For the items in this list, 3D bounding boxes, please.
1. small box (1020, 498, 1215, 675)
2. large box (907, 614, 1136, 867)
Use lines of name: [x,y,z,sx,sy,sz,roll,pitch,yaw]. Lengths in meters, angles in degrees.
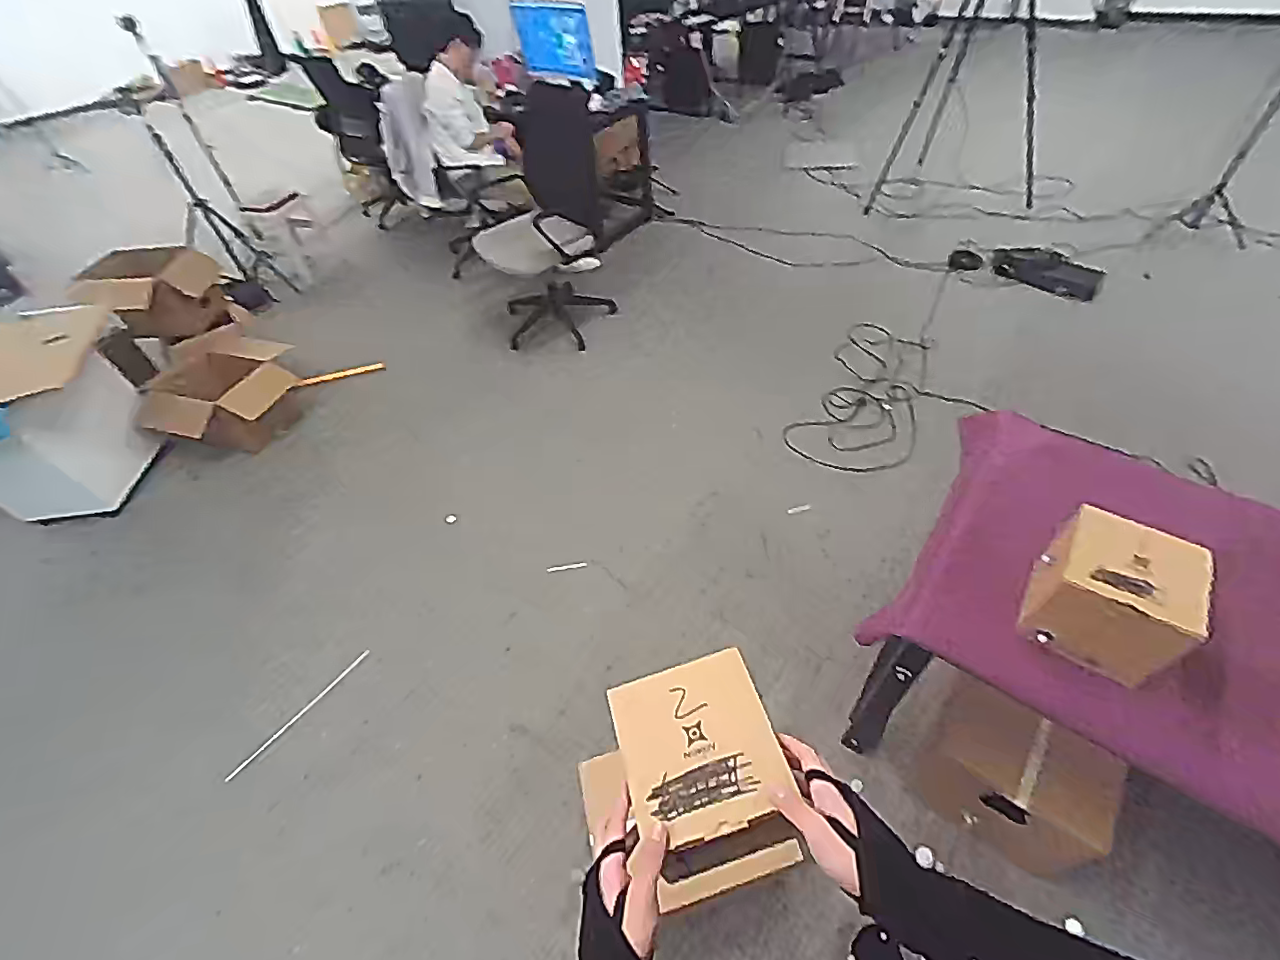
small box: [0.730,0.168,0.842,0.168,0.176,0.179,27,55,26]
large box: [0.905,0.621,1.310,0.320,0.320,0.408,28,56,27]
